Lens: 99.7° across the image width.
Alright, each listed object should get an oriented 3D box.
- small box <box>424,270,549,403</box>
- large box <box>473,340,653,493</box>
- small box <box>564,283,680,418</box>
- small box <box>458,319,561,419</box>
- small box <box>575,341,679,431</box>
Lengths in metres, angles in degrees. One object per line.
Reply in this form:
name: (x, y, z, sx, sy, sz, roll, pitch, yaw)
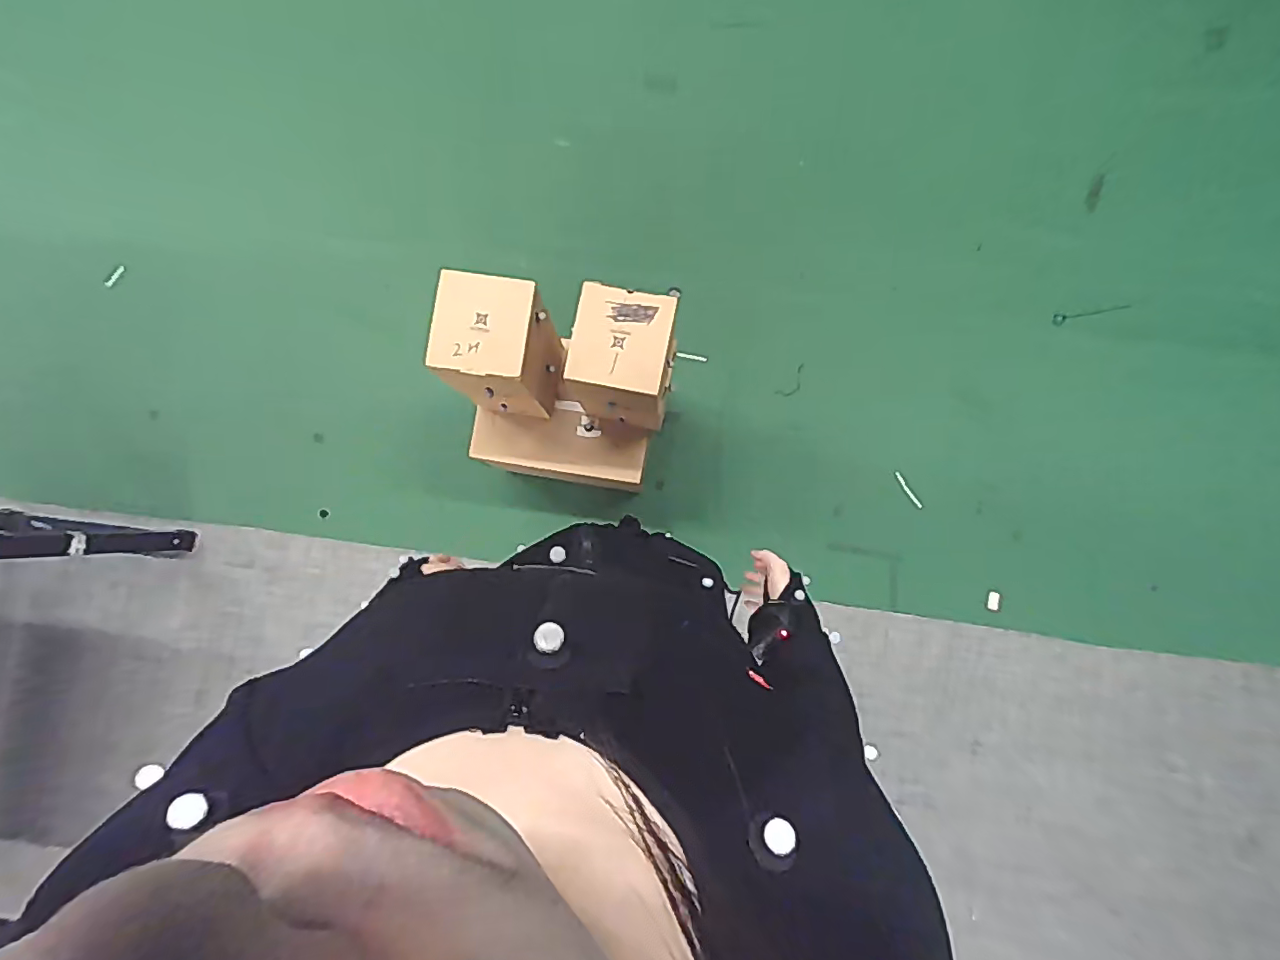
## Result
small box: (-0.269, -0.254, 0.989, 0.168, 0.176, 0.179, 8, 85, 2)
large box: (-0.168, -0.154, 1.387, 0.408, 0.320, 0.320, 9, 86, 1)
small box: (-0.028, -0.225, 0.979, 0.168, 0.176, 0.179, 12, 86, 4)
small box: (-0.269, -0.241, 1.153, 0.168, 0.176, 0.179, 9, 85, 1)
small box: (-0.023, -0.208, 1.145, 0.179, 0.176, 0.168, 13, 85, 4)
